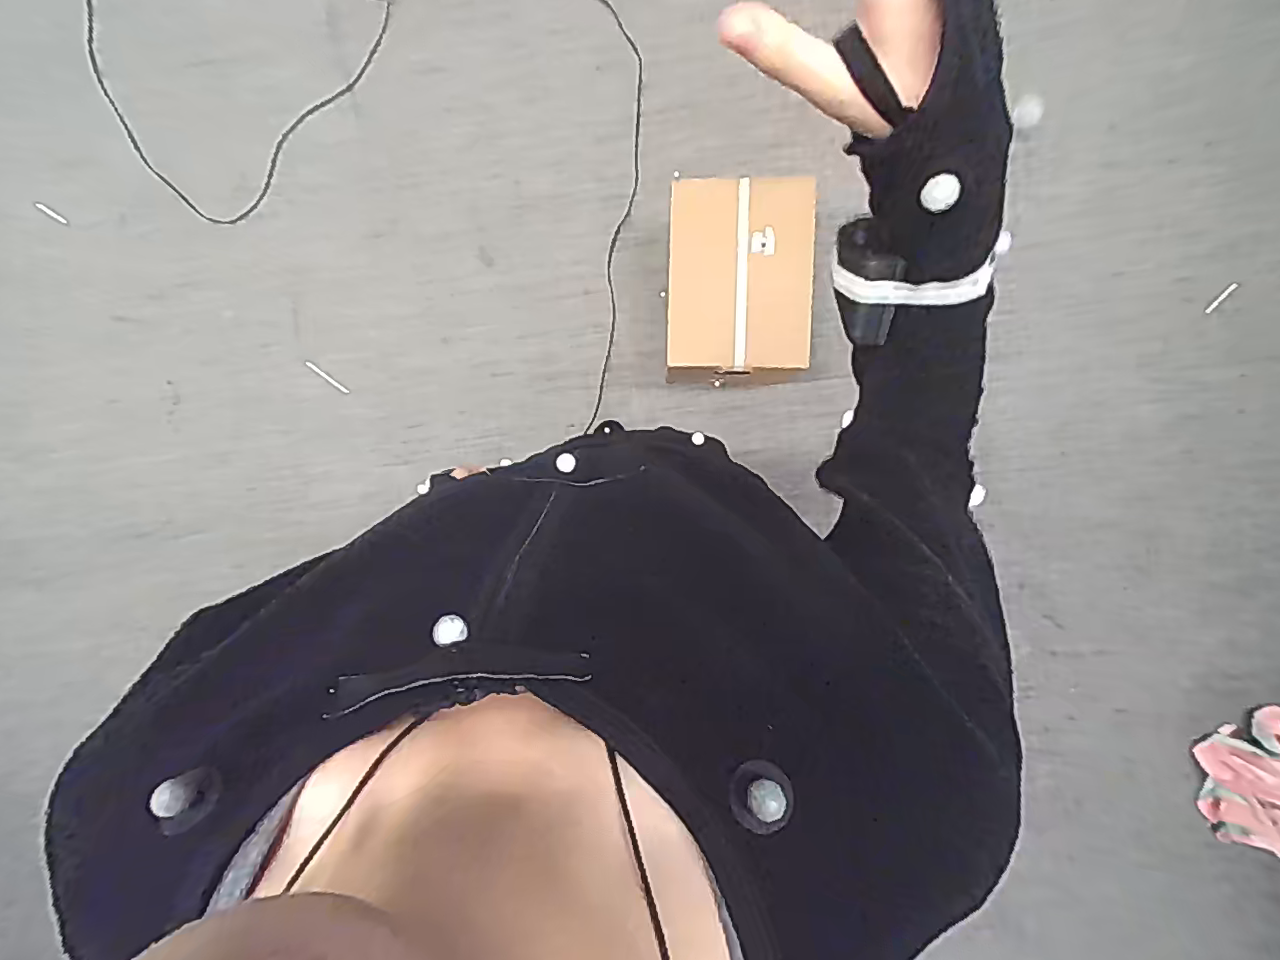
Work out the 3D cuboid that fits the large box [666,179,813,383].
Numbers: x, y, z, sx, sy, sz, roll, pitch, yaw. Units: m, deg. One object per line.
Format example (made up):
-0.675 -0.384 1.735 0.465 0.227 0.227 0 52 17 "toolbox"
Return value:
0.225 -0.455 1.323 0.320 0.320 0.408 2 93 2 "large box"
